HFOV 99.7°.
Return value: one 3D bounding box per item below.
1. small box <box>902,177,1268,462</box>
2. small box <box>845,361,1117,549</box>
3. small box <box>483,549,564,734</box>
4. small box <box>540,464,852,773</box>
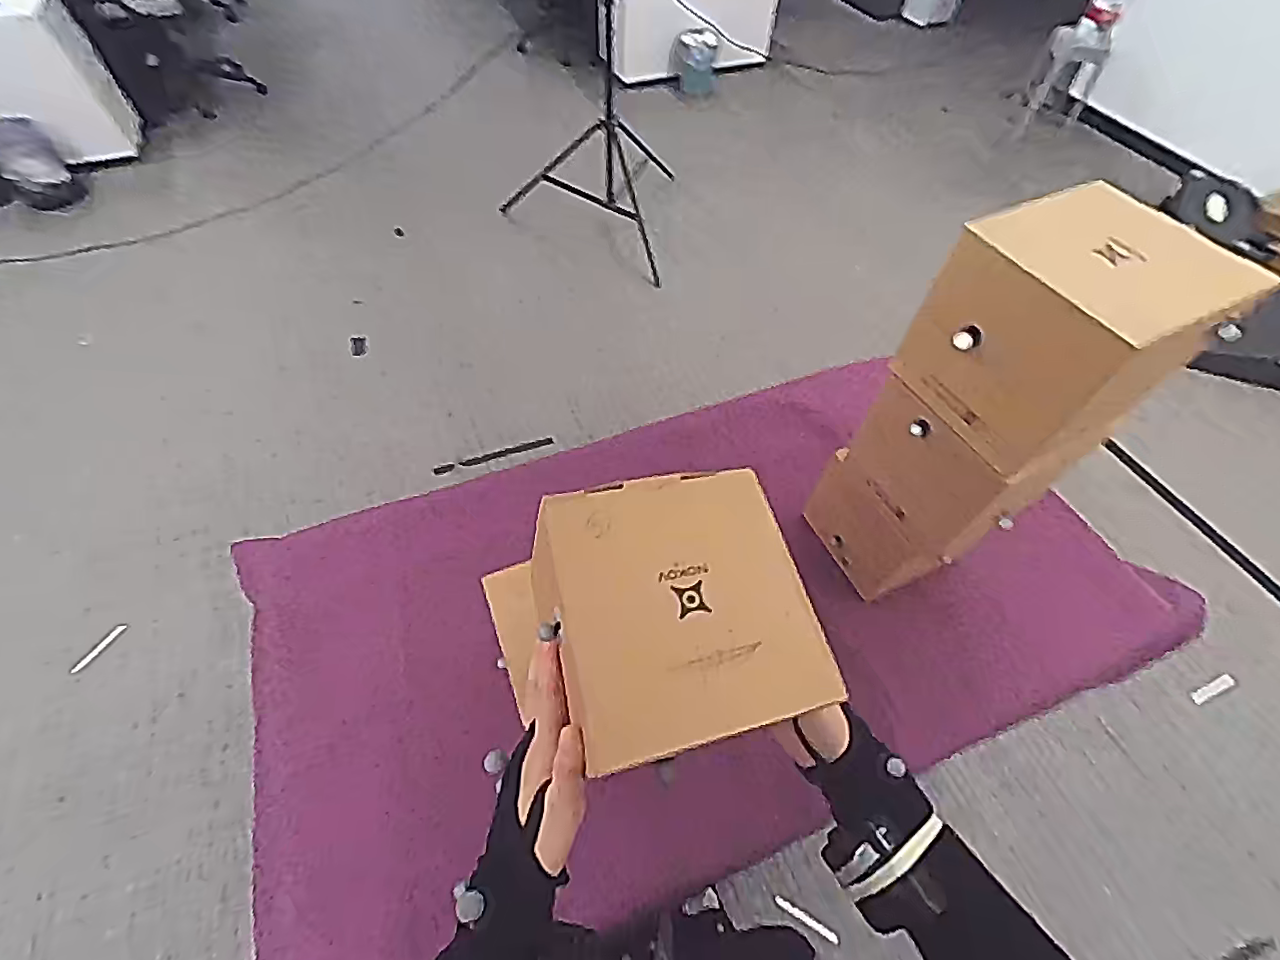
[{"bbox_3d":[0.378,-0.144,0.505,0.179,0.176,0.168,-23,60,-15],"label":"small box"},{"bbox_3d":[0.379,-0.048,0.638,0.179,0.176,0.168,-23,60,-16],"label":"small box"},{"bbox_3d":[-0.075,0.191,0.661,0.168,0.176,0.179,-19,58,-14],"label":"small box"},{"bbox_3d":[0.019,0.109,0.418,0.168,0.176,0.179,-7,63,-17],"label":"small box"}]
